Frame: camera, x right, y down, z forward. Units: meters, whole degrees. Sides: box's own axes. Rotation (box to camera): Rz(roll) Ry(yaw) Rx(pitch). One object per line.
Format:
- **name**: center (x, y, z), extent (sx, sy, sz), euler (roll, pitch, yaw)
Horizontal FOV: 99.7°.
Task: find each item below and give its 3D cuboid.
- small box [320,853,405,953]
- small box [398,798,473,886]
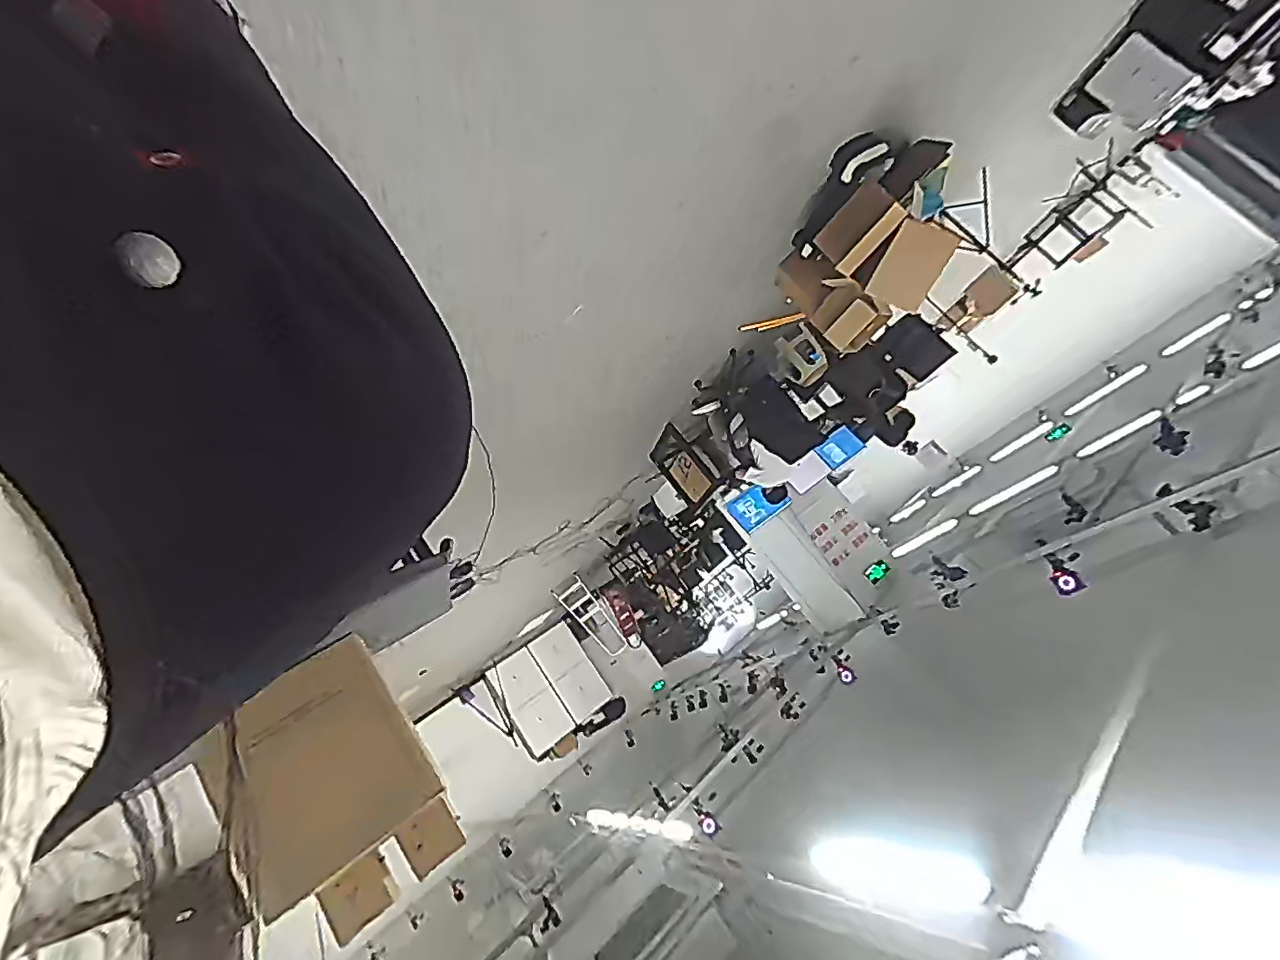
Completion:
- **small box**: center (-0.855, 1.294, 1.669), extent (0.168, 0.176, 0.179), euler (-30, 162, -29)
- **small box**: center (-0.670, 1.175, 1.771), extent (0.168, 0.176, 0.179), euler (-31, 164, -26)
